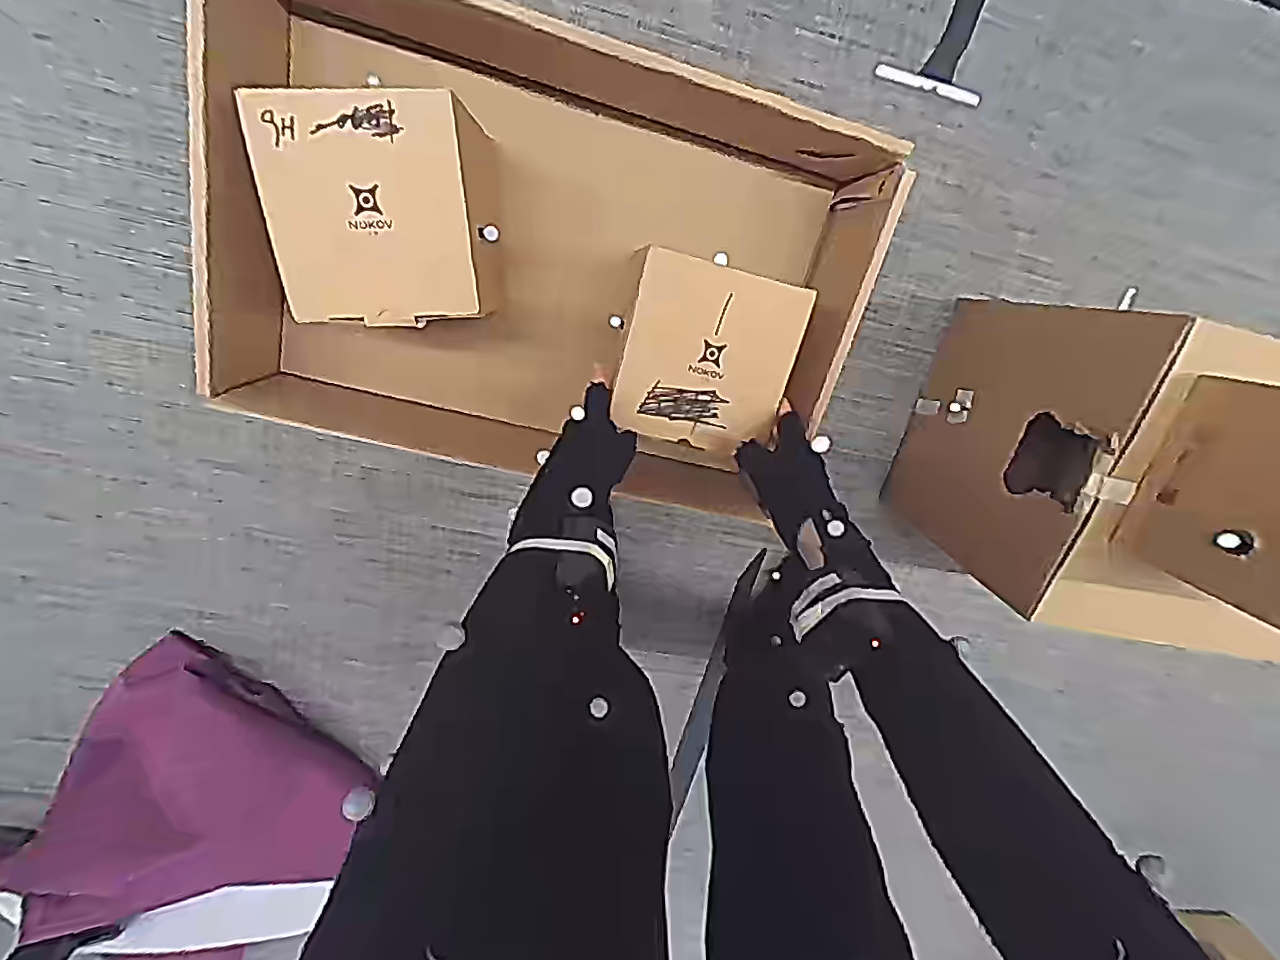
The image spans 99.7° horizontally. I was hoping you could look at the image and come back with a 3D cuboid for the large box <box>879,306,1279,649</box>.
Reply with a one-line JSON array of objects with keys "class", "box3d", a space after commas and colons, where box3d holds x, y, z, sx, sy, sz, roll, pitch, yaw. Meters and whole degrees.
[{"class": "large box", "box3d": [0.600, -0.022, 0.684, 0.408, 0.320, 0.320, 10, 110, -10]}]
